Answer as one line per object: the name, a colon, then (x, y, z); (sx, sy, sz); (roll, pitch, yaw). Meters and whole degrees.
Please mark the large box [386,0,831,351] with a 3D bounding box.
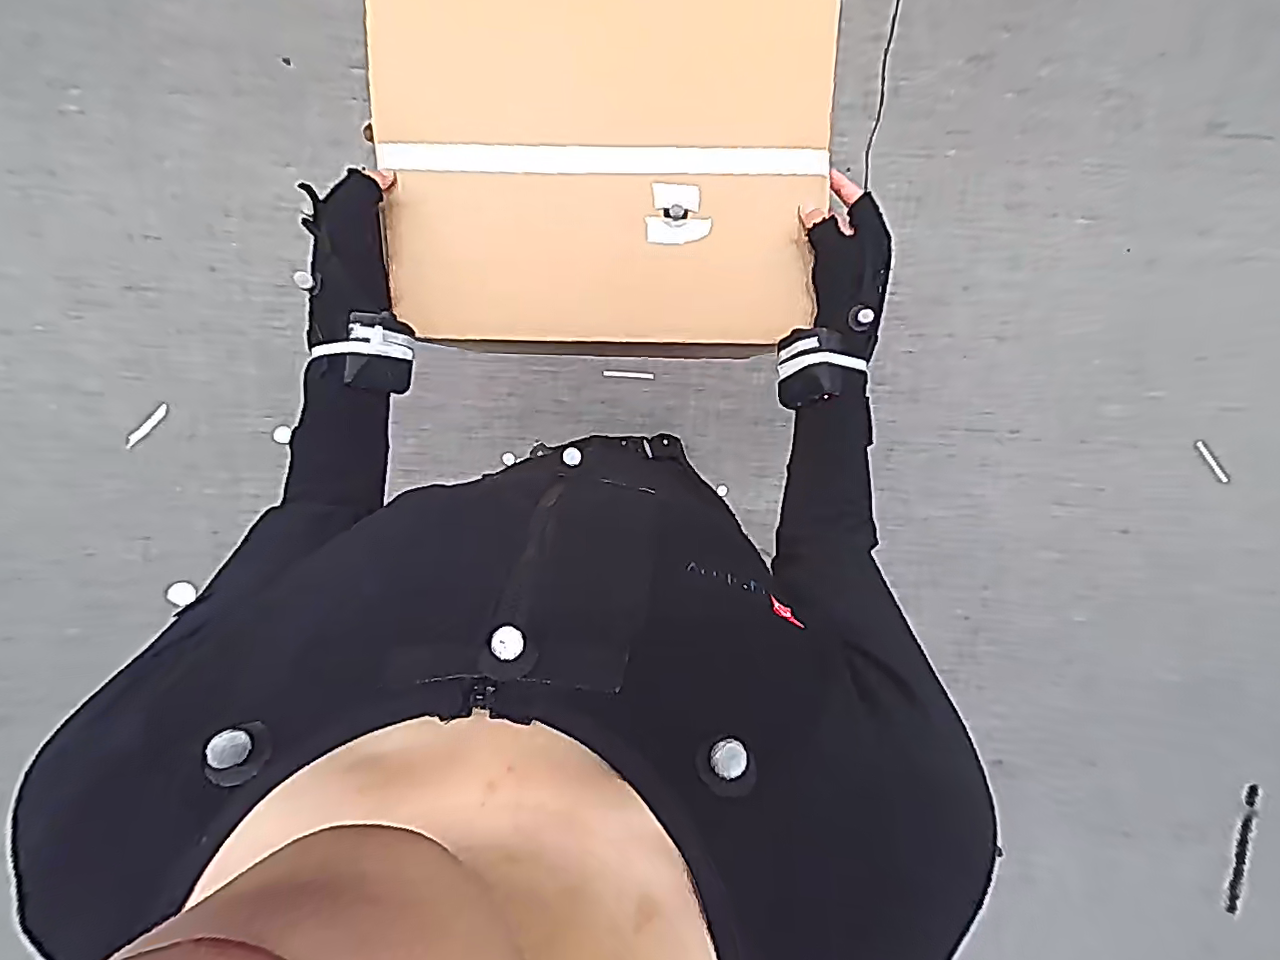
large box: (-0.031, -0.324, 0.651); (0.408, 0.320, 0.320); (0, 101, -1)
